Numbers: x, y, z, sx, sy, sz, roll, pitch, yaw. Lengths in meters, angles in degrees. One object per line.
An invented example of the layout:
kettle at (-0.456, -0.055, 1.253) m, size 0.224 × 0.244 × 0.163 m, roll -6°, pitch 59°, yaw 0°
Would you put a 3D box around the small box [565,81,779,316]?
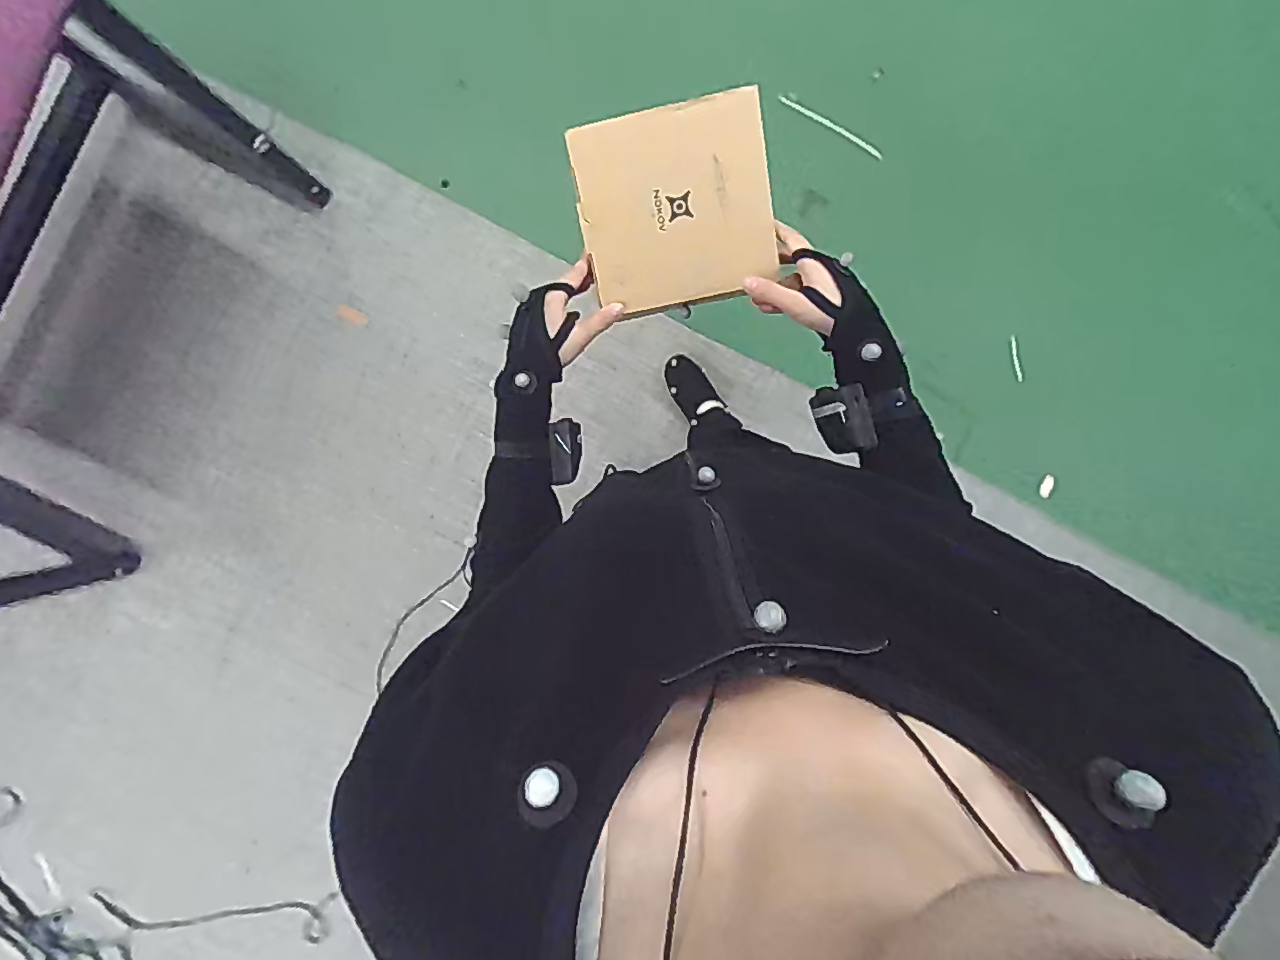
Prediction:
small box at (0.037, -0.275, 0.574) m, size 0.179 × 0.176 × 0.168 m, roll -11°, pitch 104°, yaw 6°
